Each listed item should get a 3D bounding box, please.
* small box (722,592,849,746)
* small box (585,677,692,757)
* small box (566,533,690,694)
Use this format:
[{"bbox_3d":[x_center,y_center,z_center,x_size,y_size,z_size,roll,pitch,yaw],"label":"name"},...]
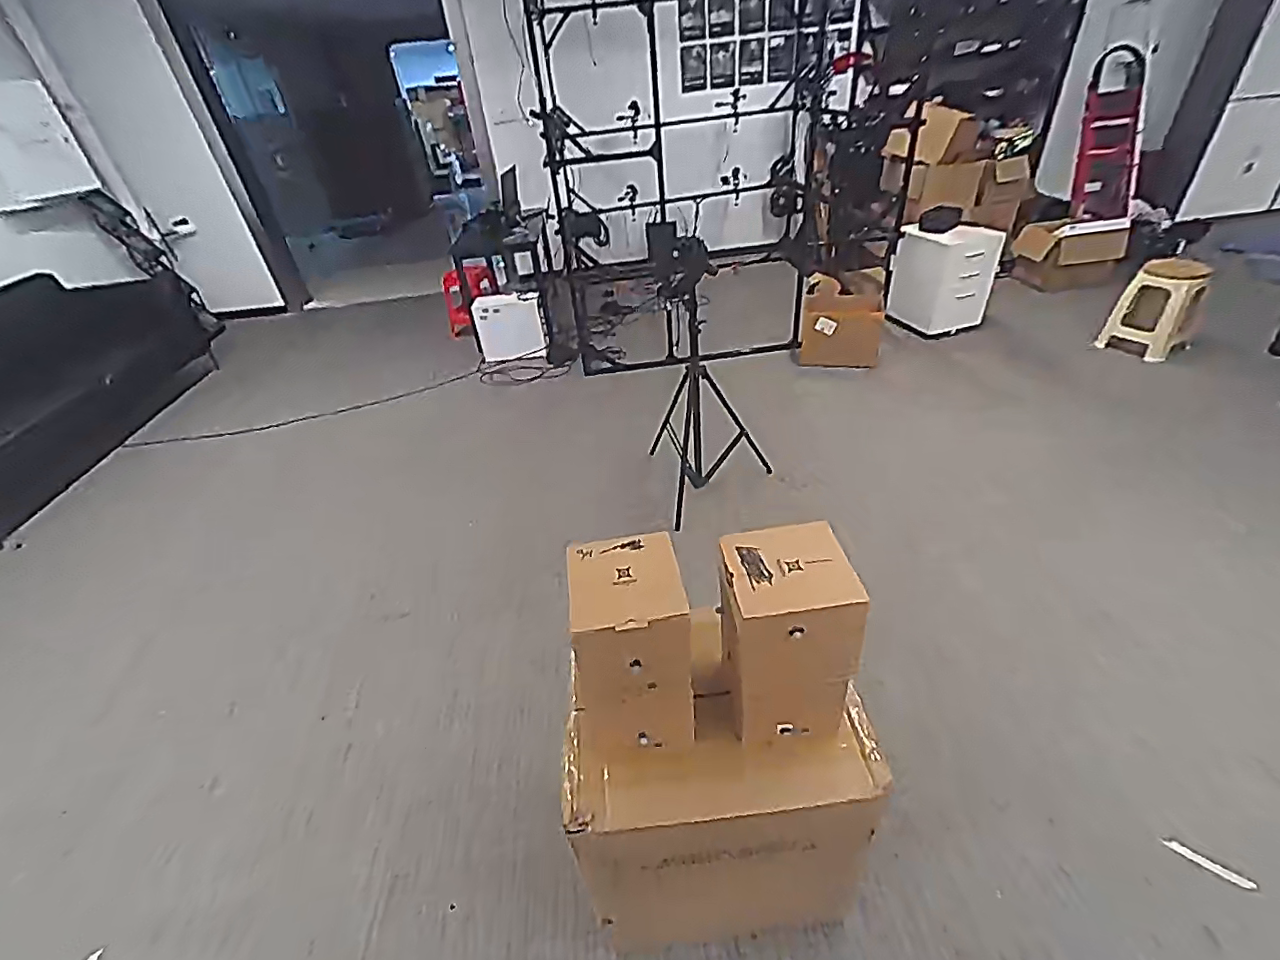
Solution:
[{"bbox_3d":[0.238,0.324,0.930,0.168,0.176,0.179,-9,38,0],"label":"small box"},{"bbox_3d":[-0.005,0.344,0.936,0.168,0.176,0.179,-7,36,-2],"label":"small box"},{"bbox_3d":[-0.019,0.211,0.841,0.168,0.176,0.179,-8,37,-3],"label":"small box"}]
